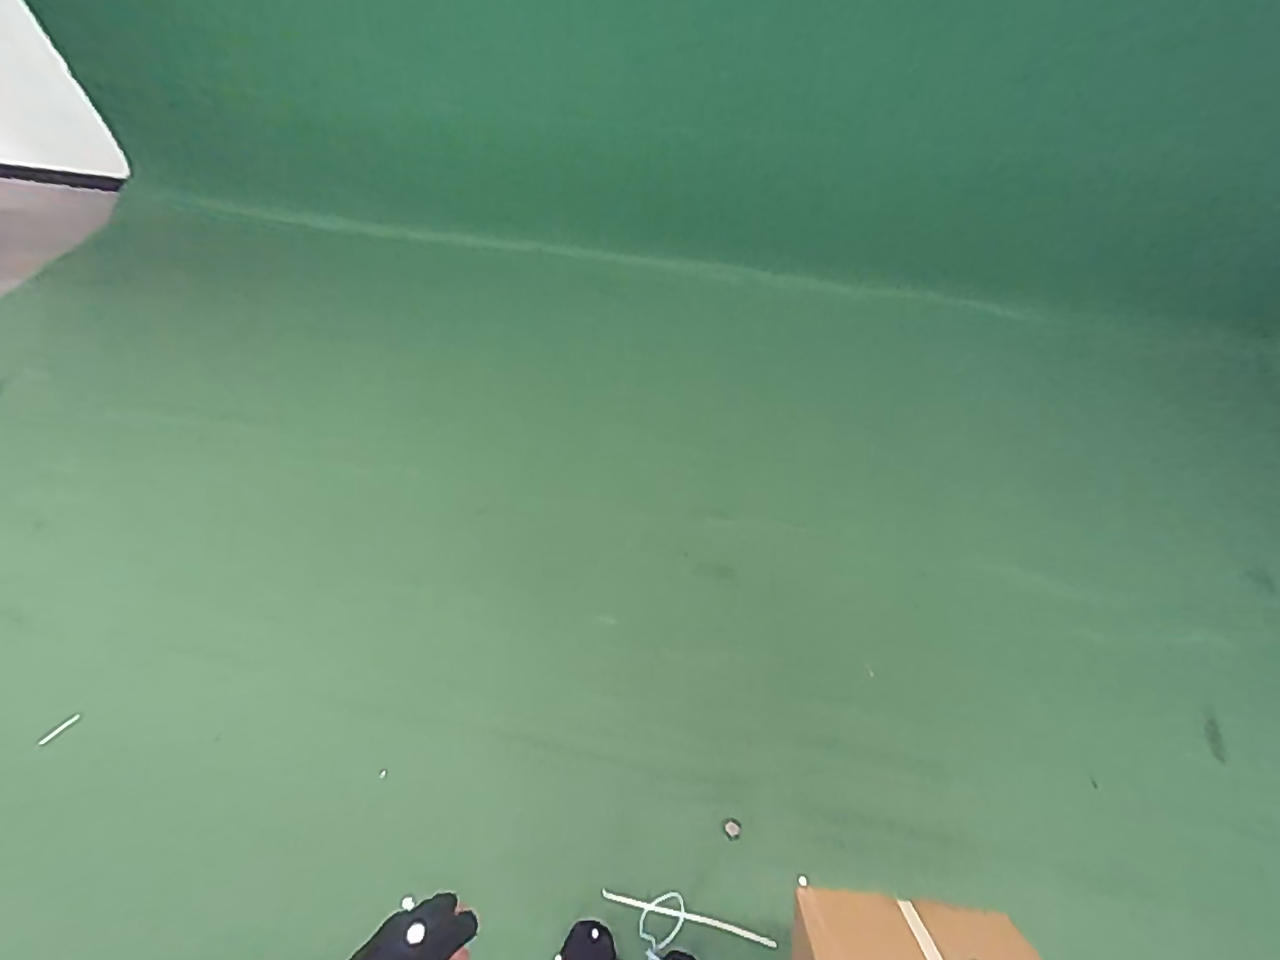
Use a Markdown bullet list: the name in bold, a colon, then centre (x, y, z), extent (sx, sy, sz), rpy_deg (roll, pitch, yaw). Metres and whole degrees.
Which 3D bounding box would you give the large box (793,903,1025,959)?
- **large box**: centre (0.367, 0.803, 0.617), extent (0.320, 0.408, 0.320), rpy_deg (5, 89, 4)
